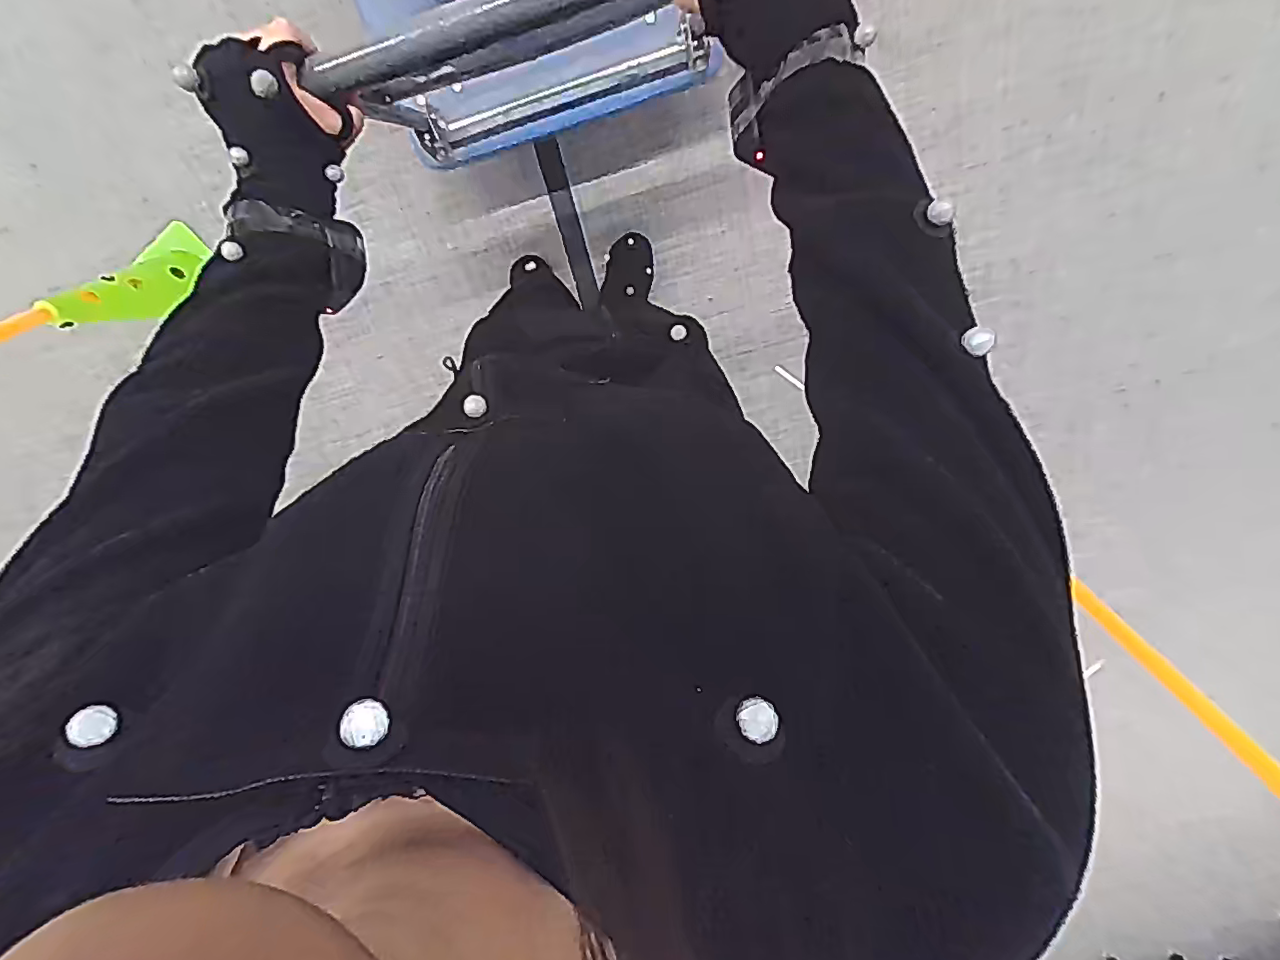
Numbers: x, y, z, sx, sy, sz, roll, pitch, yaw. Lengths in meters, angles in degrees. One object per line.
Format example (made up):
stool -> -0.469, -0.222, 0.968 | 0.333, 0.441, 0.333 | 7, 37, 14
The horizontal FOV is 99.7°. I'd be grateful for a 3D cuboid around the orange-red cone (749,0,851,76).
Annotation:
orange-red cone -> 0.314, -0.832, 0.893 | 0.199, 0.360, 0.198 | -9, 118, 2
